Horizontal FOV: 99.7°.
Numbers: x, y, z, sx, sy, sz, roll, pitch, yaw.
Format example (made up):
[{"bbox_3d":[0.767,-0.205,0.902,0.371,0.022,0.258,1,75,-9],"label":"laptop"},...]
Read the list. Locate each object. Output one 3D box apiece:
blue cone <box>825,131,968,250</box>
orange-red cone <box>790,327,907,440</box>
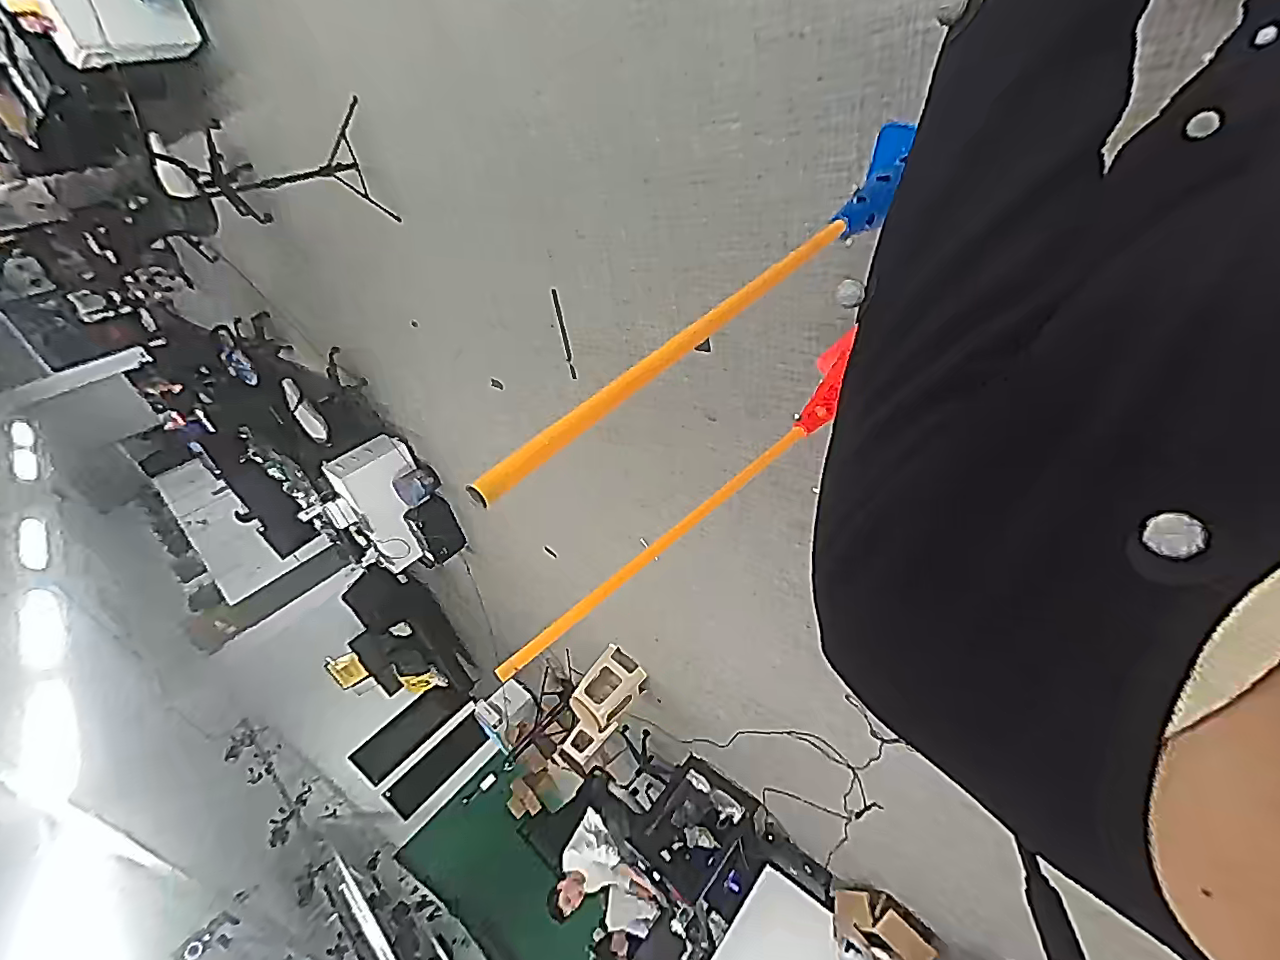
[{"bbox_3d":[0.469,-0.537,1.062,0.193,0.380,0.192,32,143,26],"label":"blue cone"},{"bbox_3d":[0.476,-0.201,1.351,0.198,0.360,0.199,50,145,1],"label":"orange-red cone"}]
